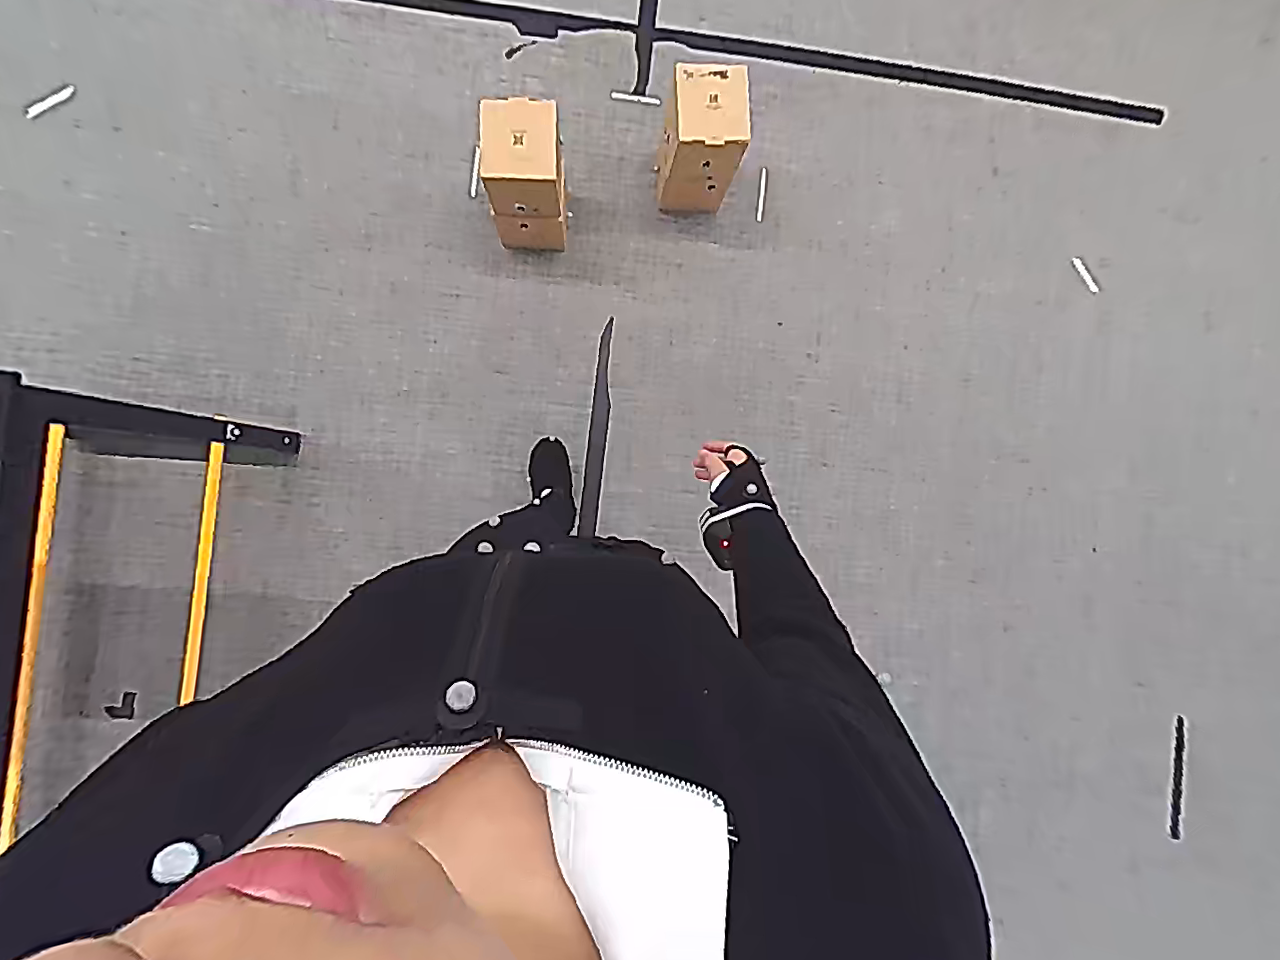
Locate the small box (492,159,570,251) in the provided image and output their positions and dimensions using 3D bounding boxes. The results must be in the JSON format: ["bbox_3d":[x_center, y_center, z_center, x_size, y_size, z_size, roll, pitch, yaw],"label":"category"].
[{"bbox_3d":[-0.279,-0.718,1.411,0.179,0.176,0.168,3,89,-5],"label":"small box"}]

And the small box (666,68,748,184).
[{"bbox_3d":[0.155,-0.833,1.288,0.168,0.176,0.179,-2,90,-5],"label":"small box"}]

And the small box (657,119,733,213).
[{"bbox_3d":[0.144,-0.838,1.451,0.179,0.176,0.168,0,89,-5],"label":"small box"}]

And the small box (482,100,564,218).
[{"bbox_3d":[-0.265,-0.732,1.249,0.168,0.176,0.179,-1,90,-3],"label":"small box"}]
